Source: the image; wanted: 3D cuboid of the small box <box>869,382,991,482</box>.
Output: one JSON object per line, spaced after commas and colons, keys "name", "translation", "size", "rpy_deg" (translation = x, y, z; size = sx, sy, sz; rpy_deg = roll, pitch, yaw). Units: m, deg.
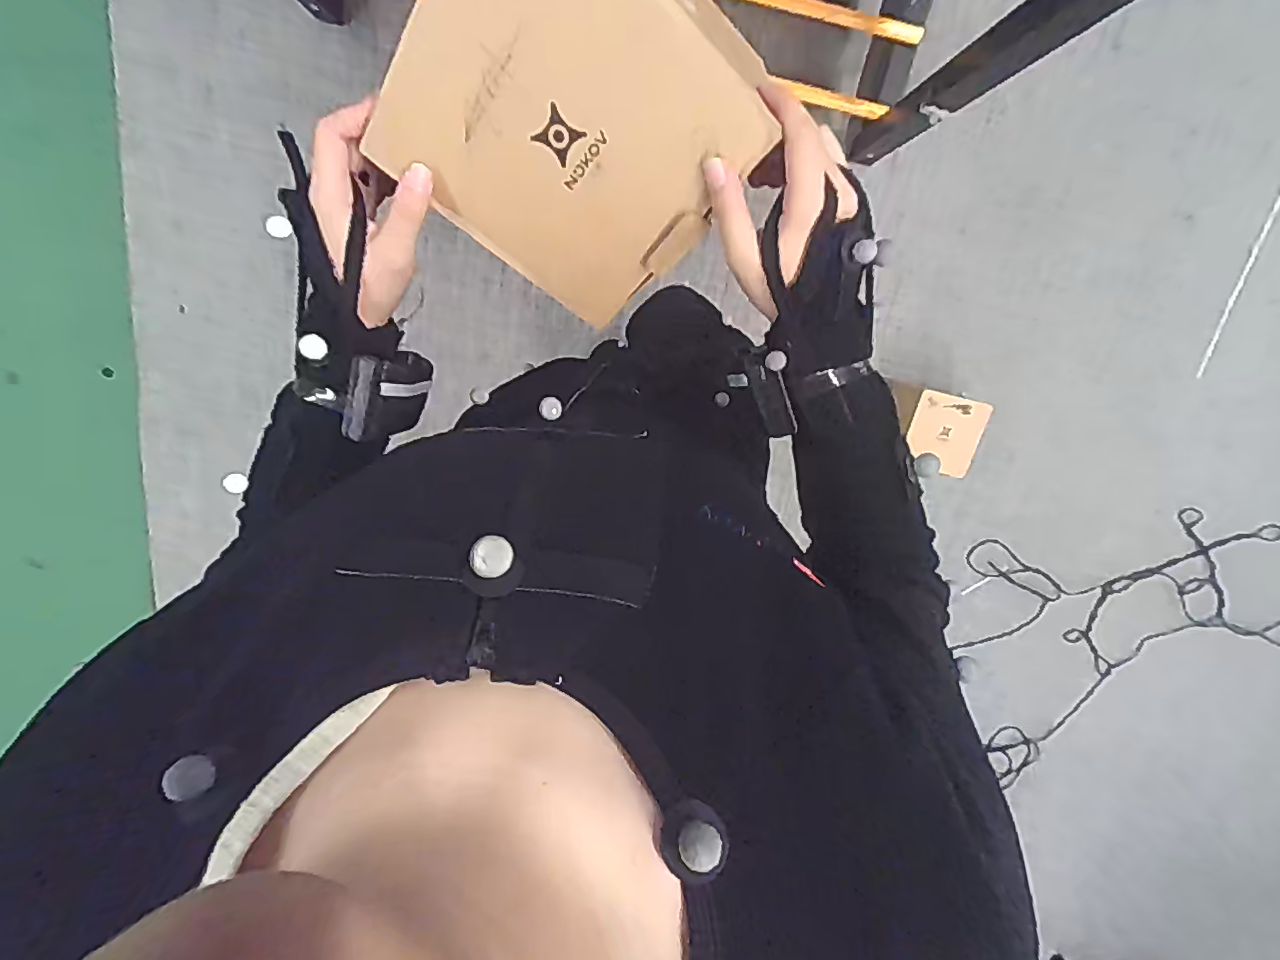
{"name": "small box", "translation": [0.665, -0.117, 1.267], "size": [0.168, 0.176, 0.179], "rpy_deg": [13, 107, -5]}
